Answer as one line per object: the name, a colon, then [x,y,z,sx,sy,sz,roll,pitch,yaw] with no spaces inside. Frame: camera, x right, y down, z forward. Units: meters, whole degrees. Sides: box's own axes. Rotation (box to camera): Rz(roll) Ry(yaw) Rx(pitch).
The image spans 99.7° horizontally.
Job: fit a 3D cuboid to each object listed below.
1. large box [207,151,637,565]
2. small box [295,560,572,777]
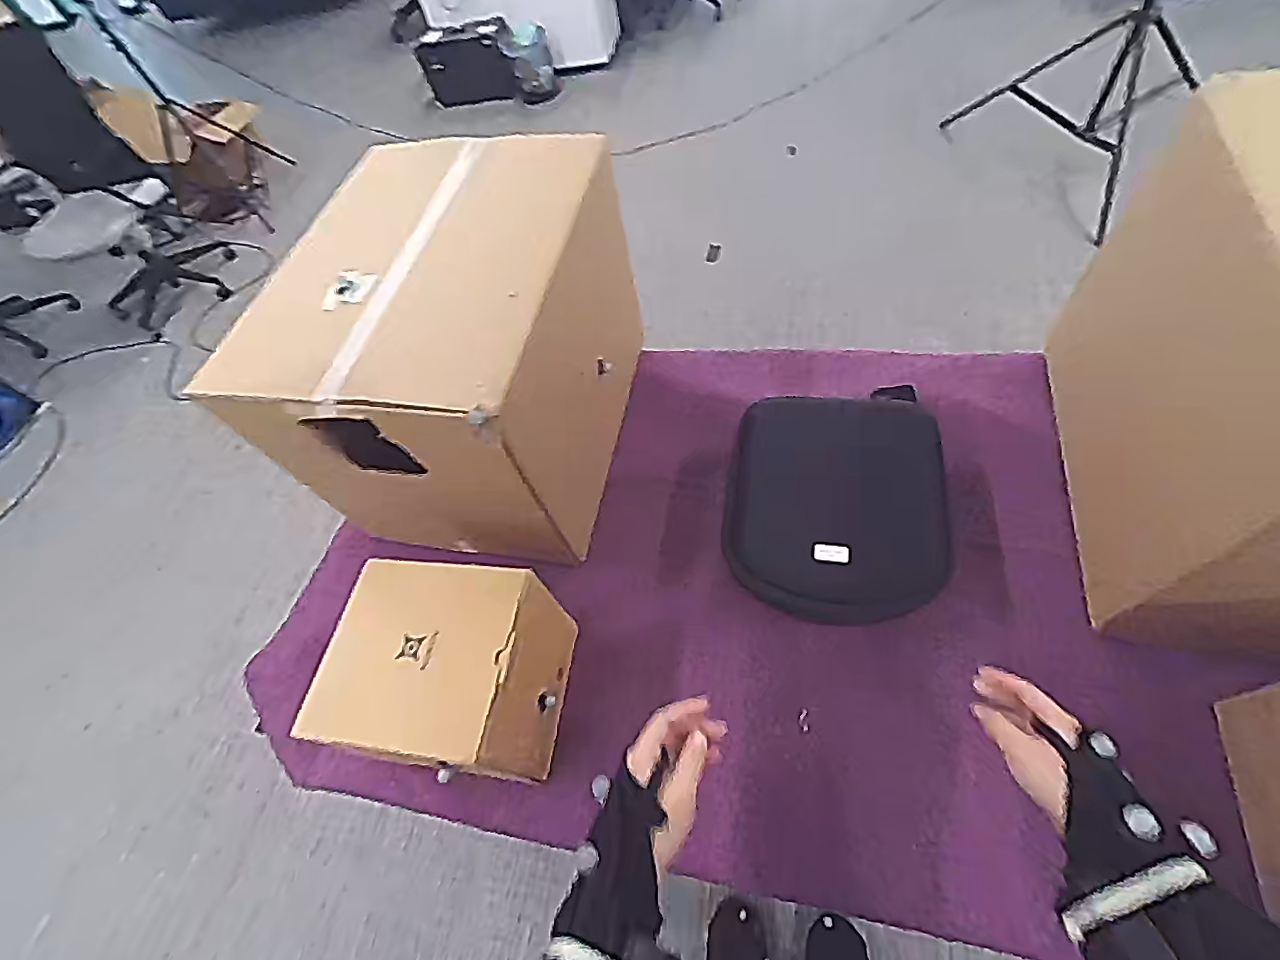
large box: [-0.200,-0.147,0.687,0.320,0.320,0.408,5,61,13]
small box: [-0.187,0.194,0.549,0.179,0.176,0.168,1,57,12]
